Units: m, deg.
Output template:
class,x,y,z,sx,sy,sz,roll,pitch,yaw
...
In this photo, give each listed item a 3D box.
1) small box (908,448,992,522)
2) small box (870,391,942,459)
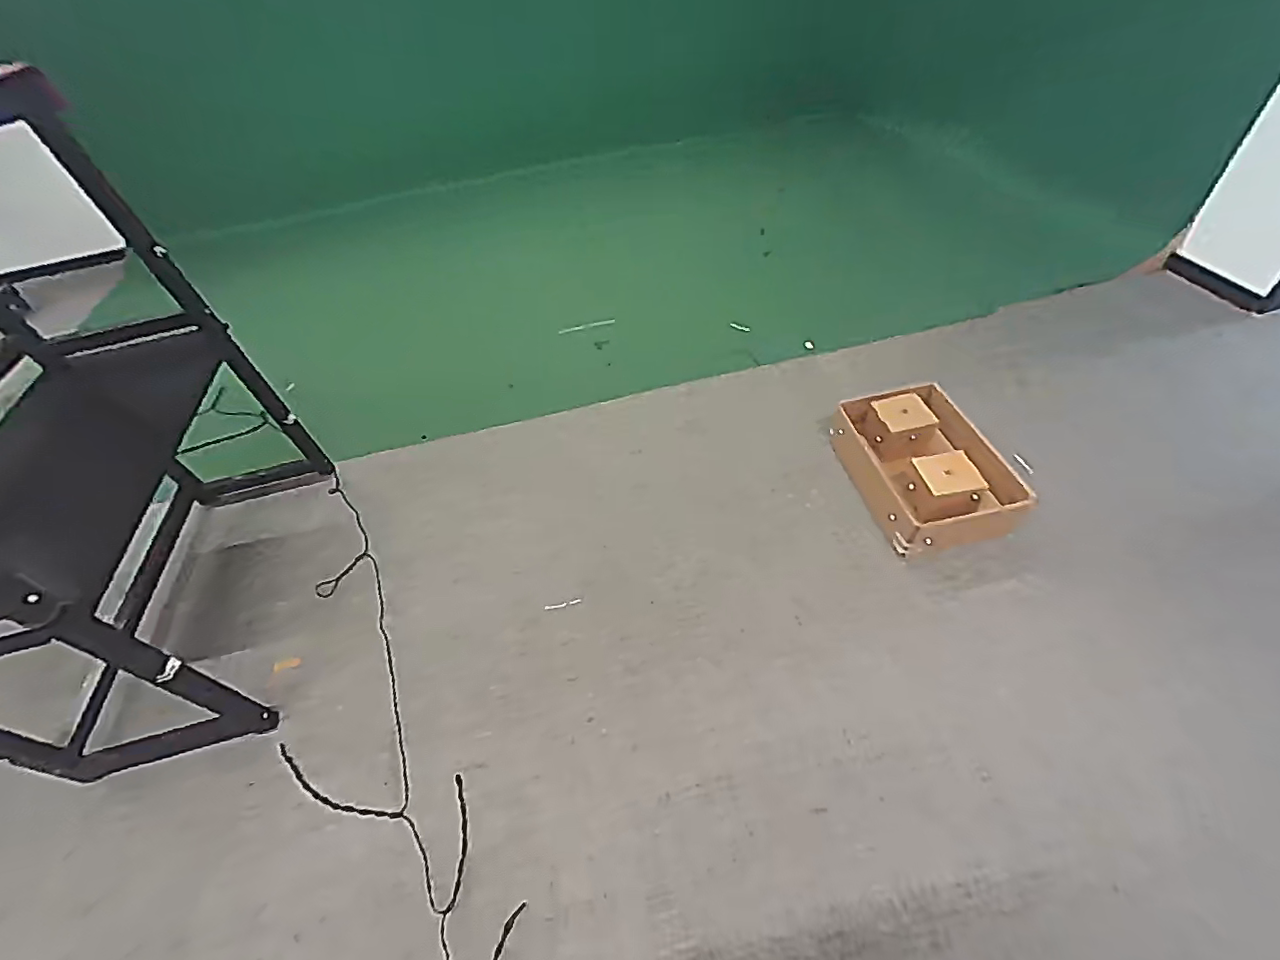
class,x,y,z,sx,sy,sz,roll,pitch,yaw
small box,1.017,0.021,1.798,0.179,0.176,0.168,-10,48,1
small box,0.969,-0.200,1.996,0.179,0.176,0.168,-13,50,-2
